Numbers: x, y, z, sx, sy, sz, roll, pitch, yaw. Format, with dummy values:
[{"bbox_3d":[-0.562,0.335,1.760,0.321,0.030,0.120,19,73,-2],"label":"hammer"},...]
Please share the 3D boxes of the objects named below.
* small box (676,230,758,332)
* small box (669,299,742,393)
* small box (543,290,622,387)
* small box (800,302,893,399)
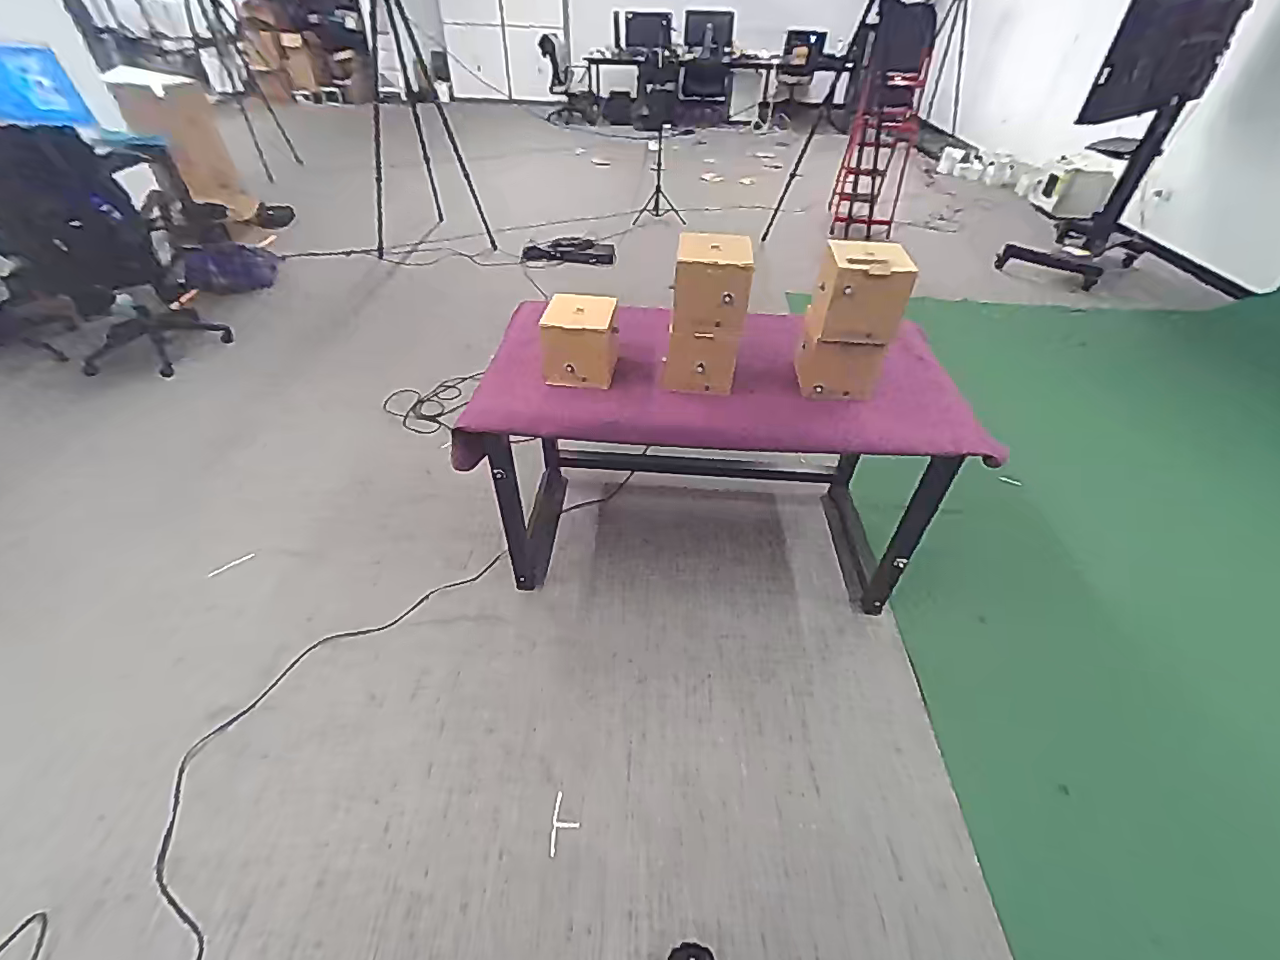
[{"bbox_3d":[0.174,-0.455,1.241,0.168,0.176,0.179,6,43,4],"label":"small box"},{"bbox_3d":[0.163,-0.335,1.351,0.168,0.176,0.179,6,44,4],"label":"small box"},{"bbox_3d":[-0.140,-0.358,1.367,0.168,0.176,0.179,6,44,4],"label":"small box"},{"bbox_3d":[0.505,-0.321,1.344,0.168,0.176,0.179,8,44,4],"label":"small box"}]
